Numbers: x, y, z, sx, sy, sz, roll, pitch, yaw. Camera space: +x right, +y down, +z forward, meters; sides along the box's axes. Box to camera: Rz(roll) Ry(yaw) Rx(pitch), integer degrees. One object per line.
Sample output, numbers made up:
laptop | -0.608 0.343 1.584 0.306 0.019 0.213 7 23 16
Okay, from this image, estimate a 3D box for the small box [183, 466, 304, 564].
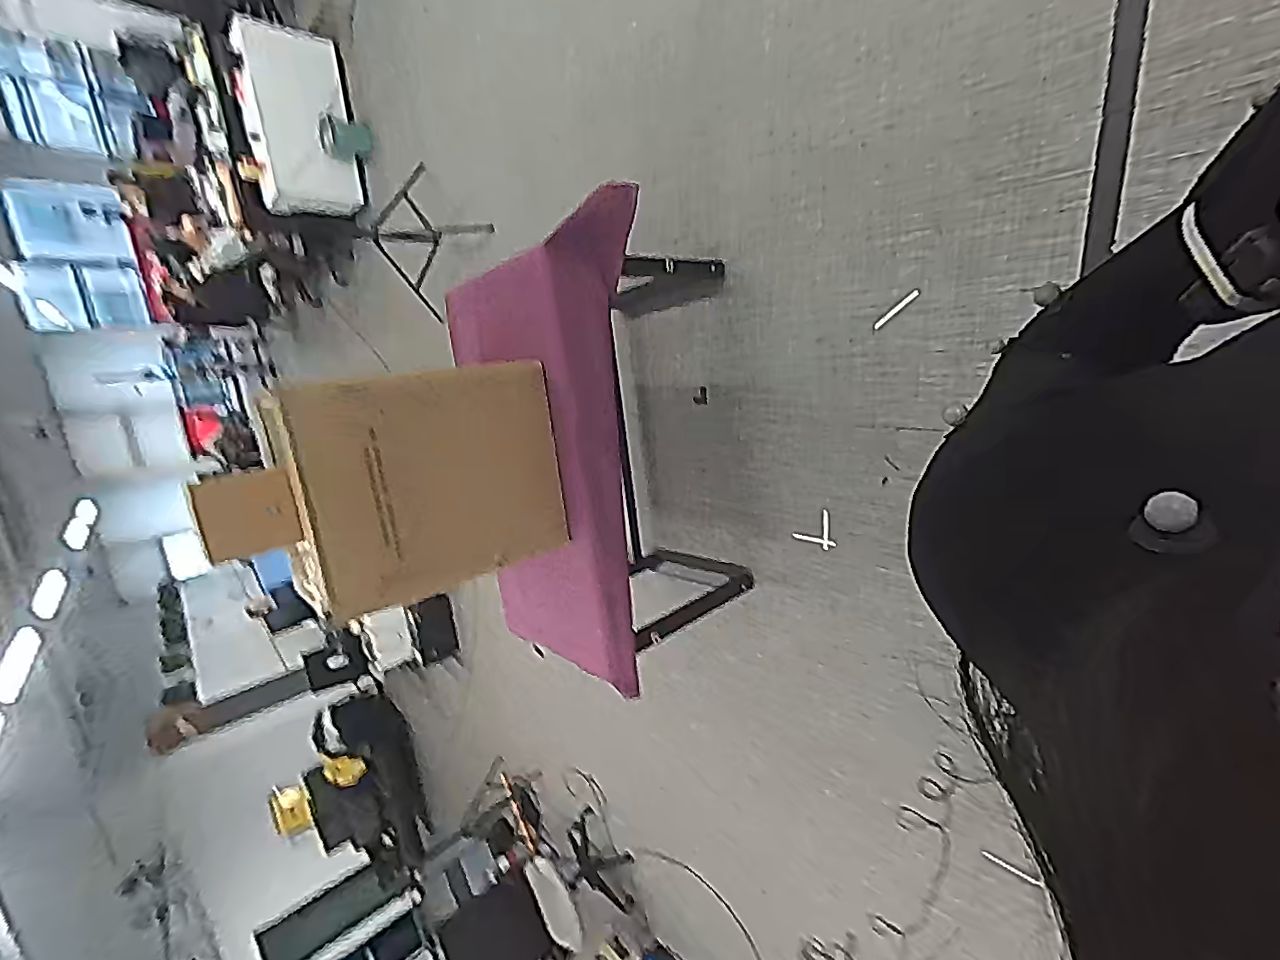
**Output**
small box | -0.855 0.067 1.169 0.168 0.176 0.179 0 102 48
